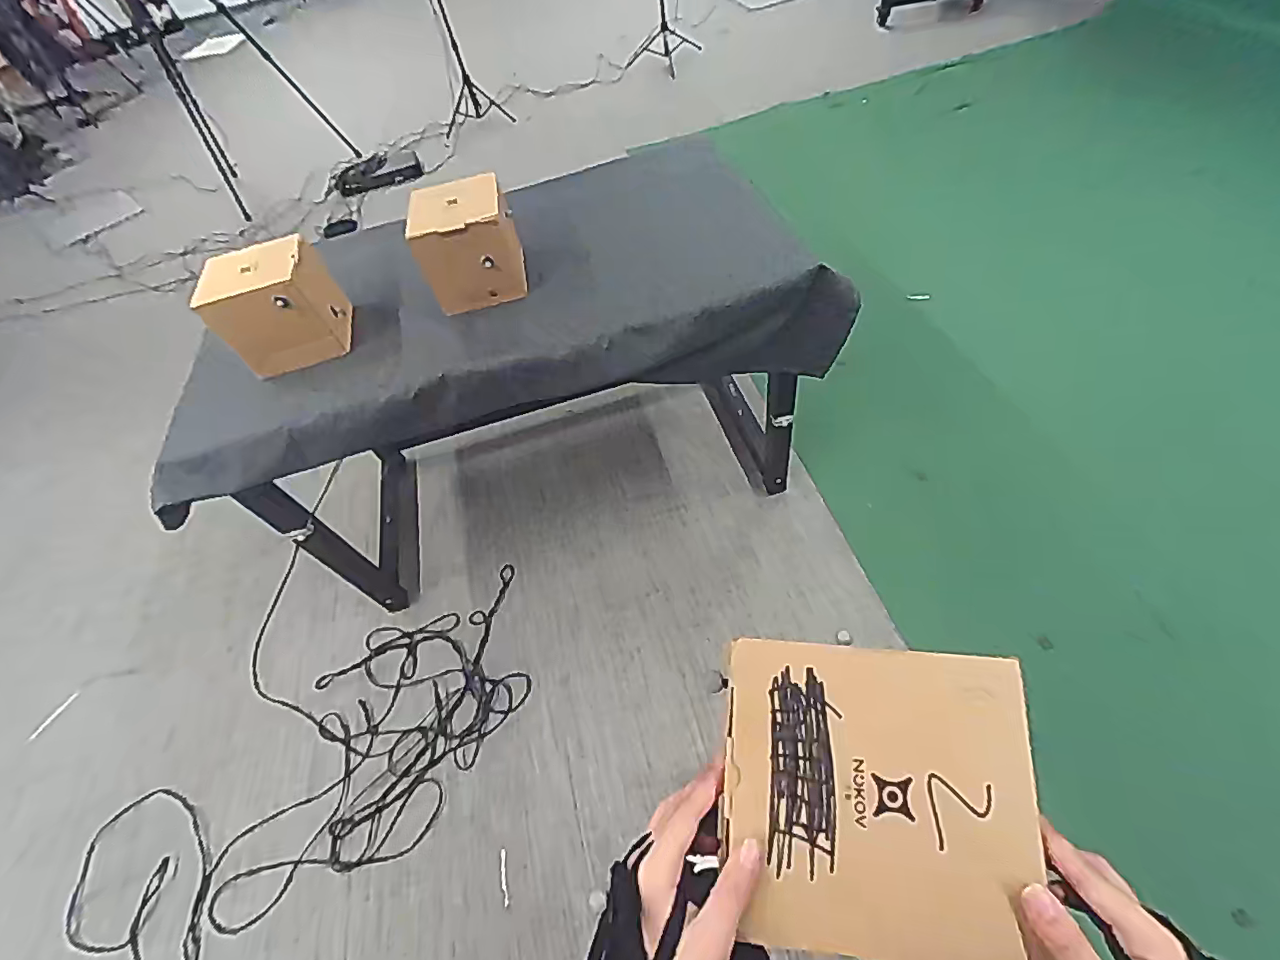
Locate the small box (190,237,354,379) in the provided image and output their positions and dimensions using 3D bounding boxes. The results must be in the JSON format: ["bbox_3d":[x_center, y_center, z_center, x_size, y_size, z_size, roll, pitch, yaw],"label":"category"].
[{"bbox_3d":[-0.667,-0.313,1.003,0.179,0.176,0.168,-18,53,-4],"label":"small box"}]

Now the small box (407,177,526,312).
[{"bbox_3d":[-0.323,-0.440,1.033,0.168,0.176,0.179,-14,52,-1],"label":"small box"}]
